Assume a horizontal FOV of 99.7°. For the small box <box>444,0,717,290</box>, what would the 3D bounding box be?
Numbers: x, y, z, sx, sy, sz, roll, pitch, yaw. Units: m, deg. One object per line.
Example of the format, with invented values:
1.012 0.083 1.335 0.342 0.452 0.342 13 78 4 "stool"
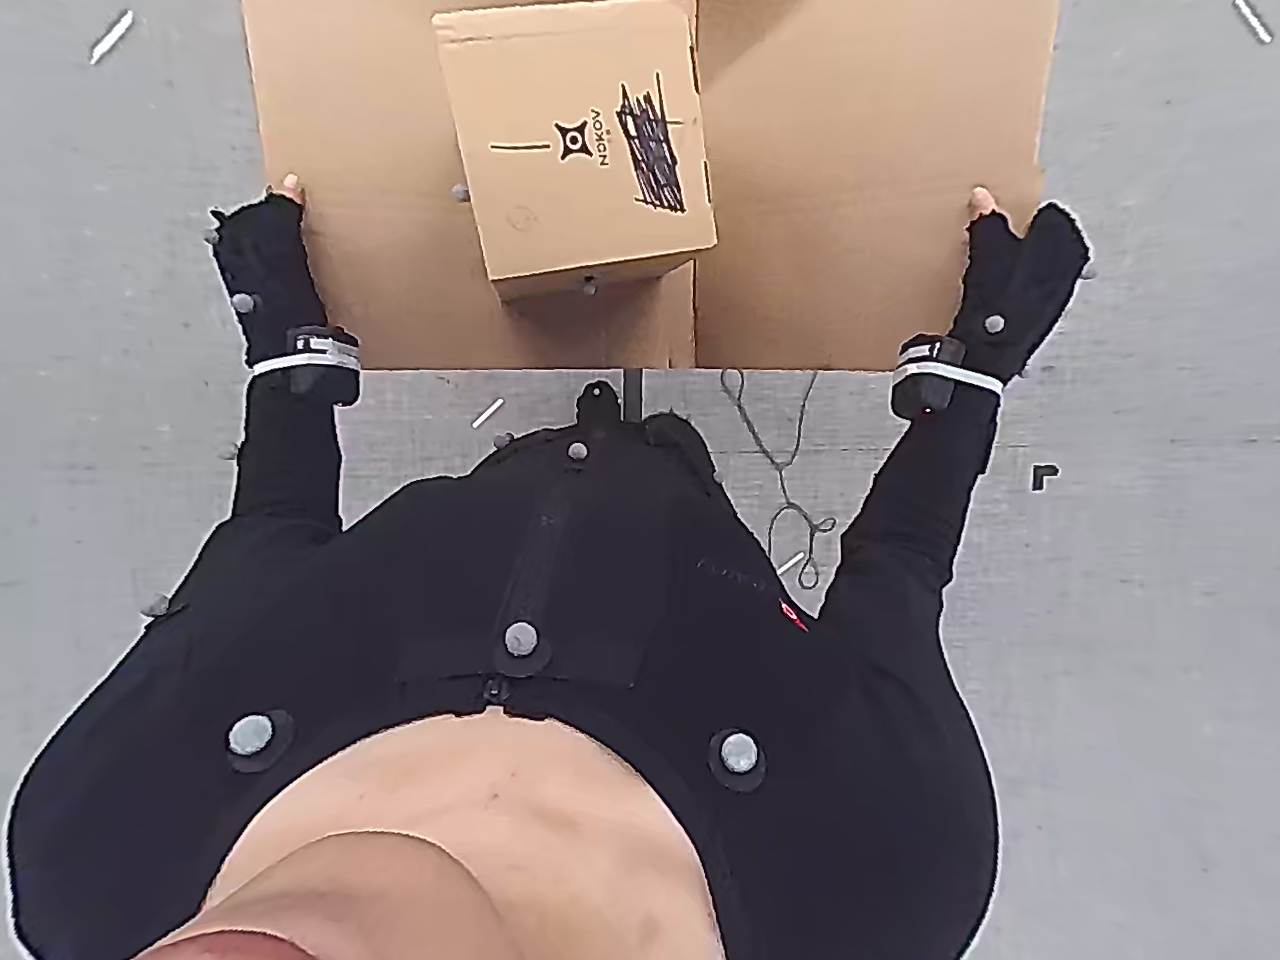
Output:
-0.051 -0.267 0.466 0.179 0.176 0.168 -12 105 -9 "small box"
